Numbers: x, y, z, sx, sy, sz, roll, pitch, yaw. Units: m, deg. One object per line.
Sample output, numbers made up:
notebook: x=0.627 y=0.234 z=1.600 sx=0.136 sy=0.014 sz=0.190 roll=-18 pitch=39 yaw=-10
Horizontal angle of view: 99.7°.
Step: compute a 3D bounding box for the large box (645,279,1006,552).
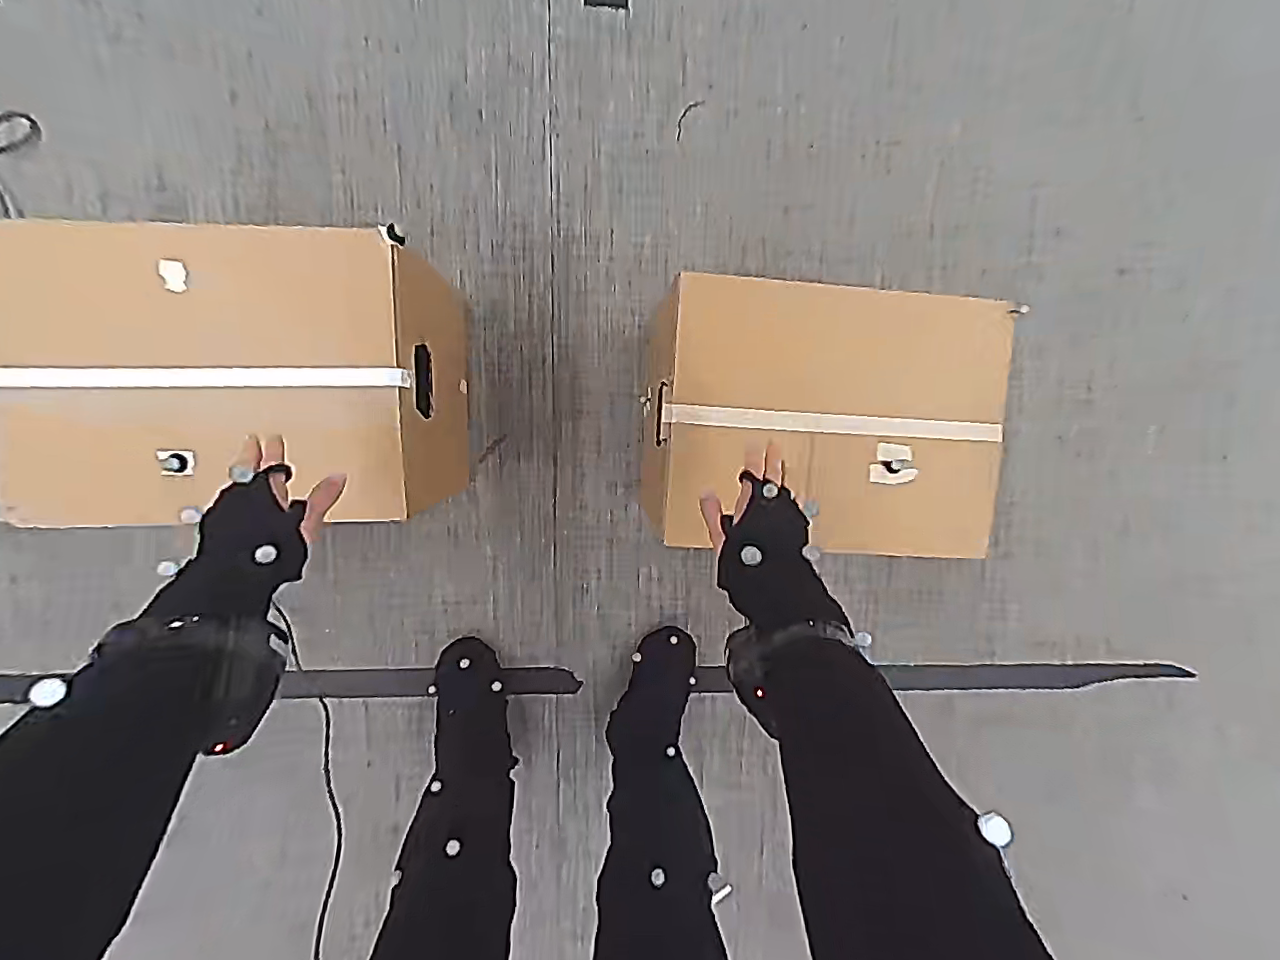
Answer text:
large box: x=0.224 y=-0.082 z=0.794 sx=0.408 sy=0.320 sz=0.320 roll=3 pitch=96 yaw=-6
